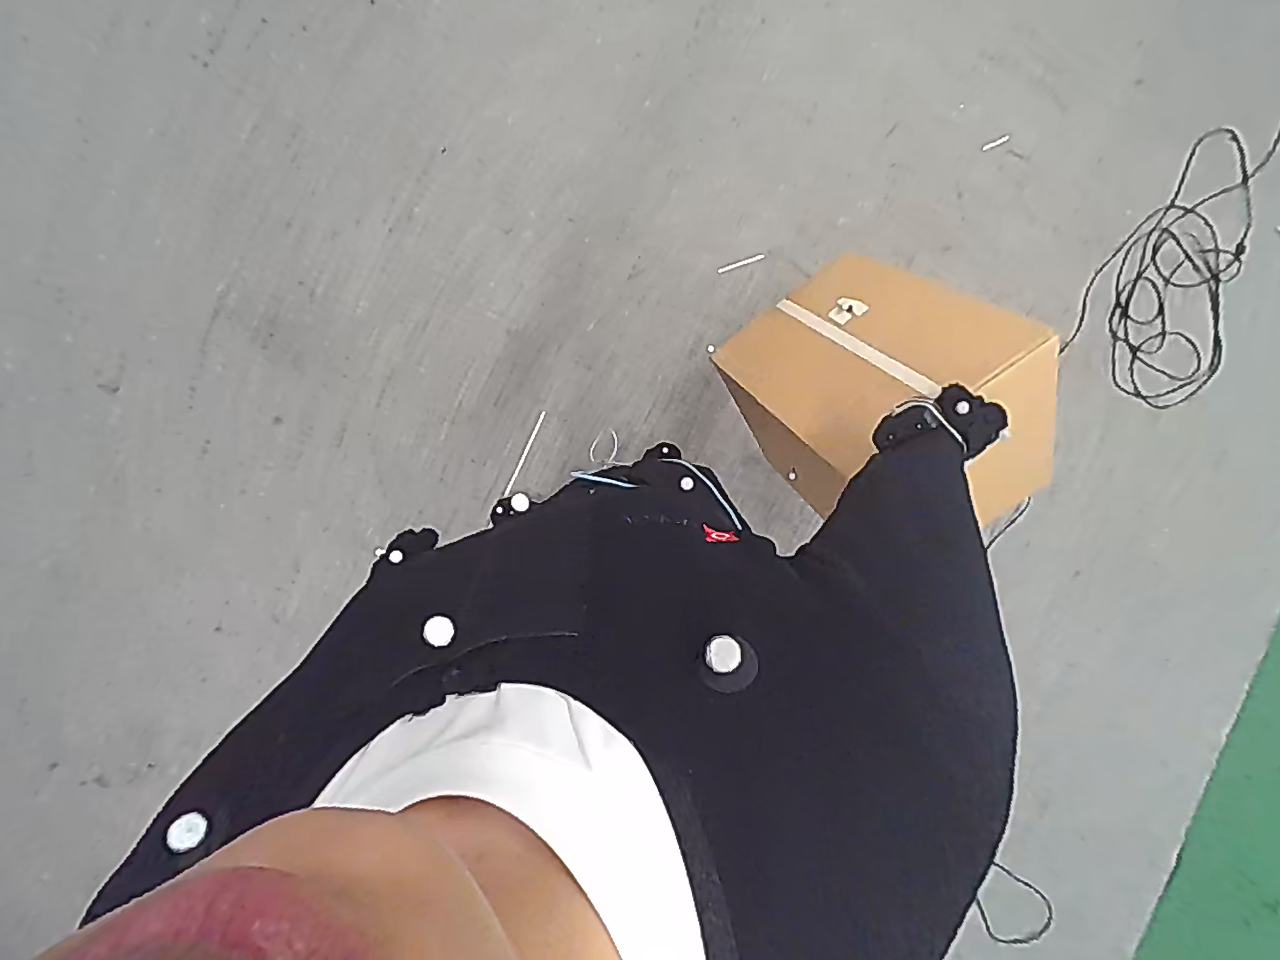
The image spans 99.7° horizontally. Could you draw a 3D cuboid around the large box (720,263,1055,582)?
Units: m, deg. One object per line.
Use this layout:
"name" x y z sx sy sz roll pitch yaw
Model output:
"large box" 0.409 -0.108 0.933 0.320 0.408 0.320 -35 131 4
